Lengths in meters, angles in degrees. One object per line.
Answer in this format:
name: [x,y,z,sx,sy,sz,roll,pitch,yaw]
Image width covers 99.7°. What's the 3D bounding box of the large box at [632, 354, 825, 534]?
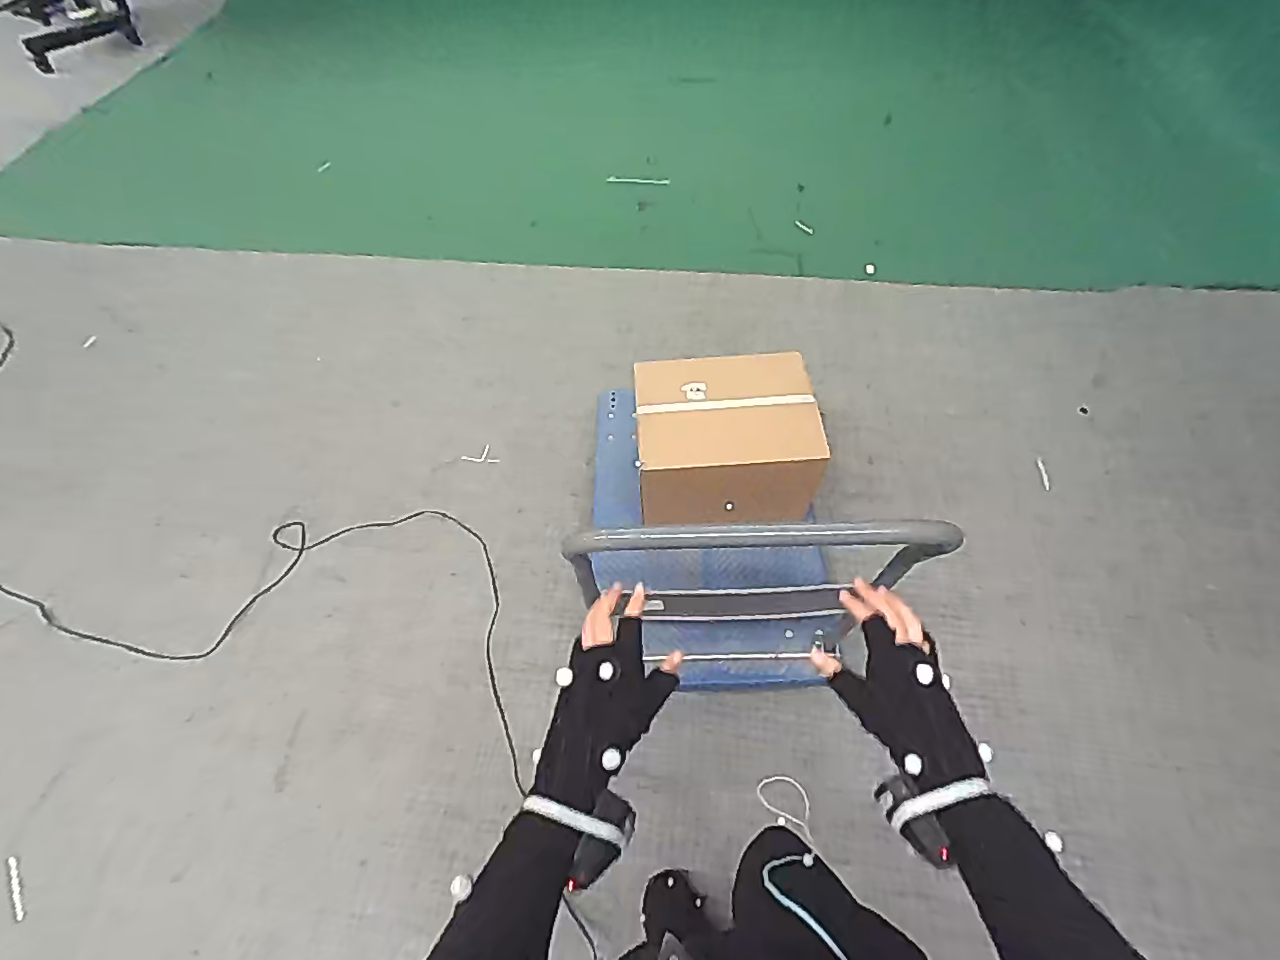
large box: [0.197,-0.079,1.352,0.408,0.320,0.320,-4,57,2]
